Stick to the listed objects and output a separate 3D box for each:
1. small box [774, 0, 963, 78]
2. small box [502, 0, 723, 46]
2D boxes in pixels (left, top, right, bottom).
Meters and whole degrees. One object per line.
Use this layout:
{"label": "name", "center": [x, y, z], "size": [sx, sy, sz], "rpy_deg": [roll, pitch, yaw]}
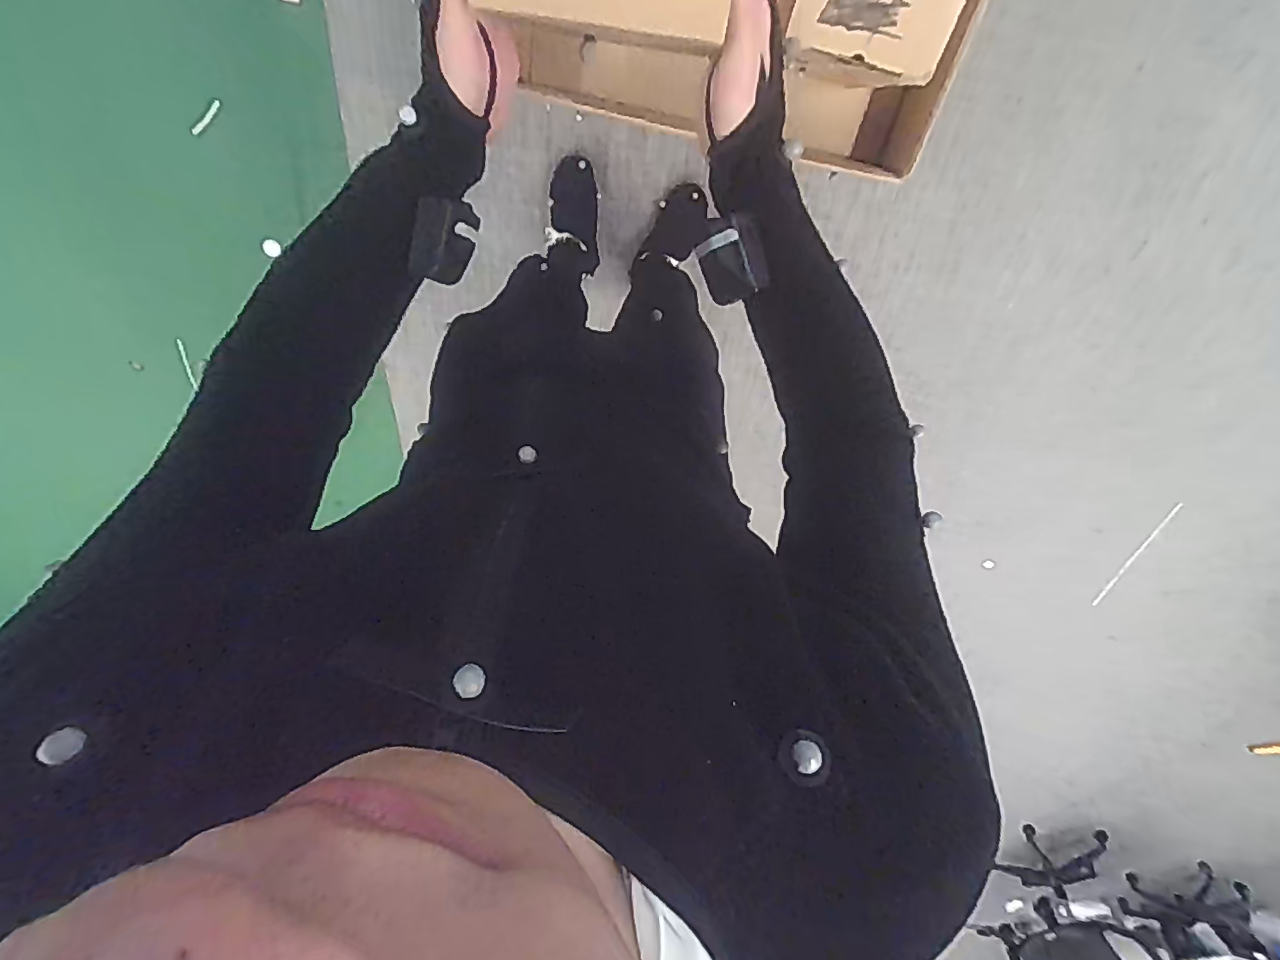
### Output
{"label": "small box", "center": [0.251, -0.553, 0.574], "size": [0.168, 0.176, 0.179], "rpy_deg": [13, 125, -4]}
{"label": "small box", "center": [-0.020, -0.407, 0.348], "size": [0.168, 0.176, 0.179], "rpy_deg": [7, 126, -3]}
